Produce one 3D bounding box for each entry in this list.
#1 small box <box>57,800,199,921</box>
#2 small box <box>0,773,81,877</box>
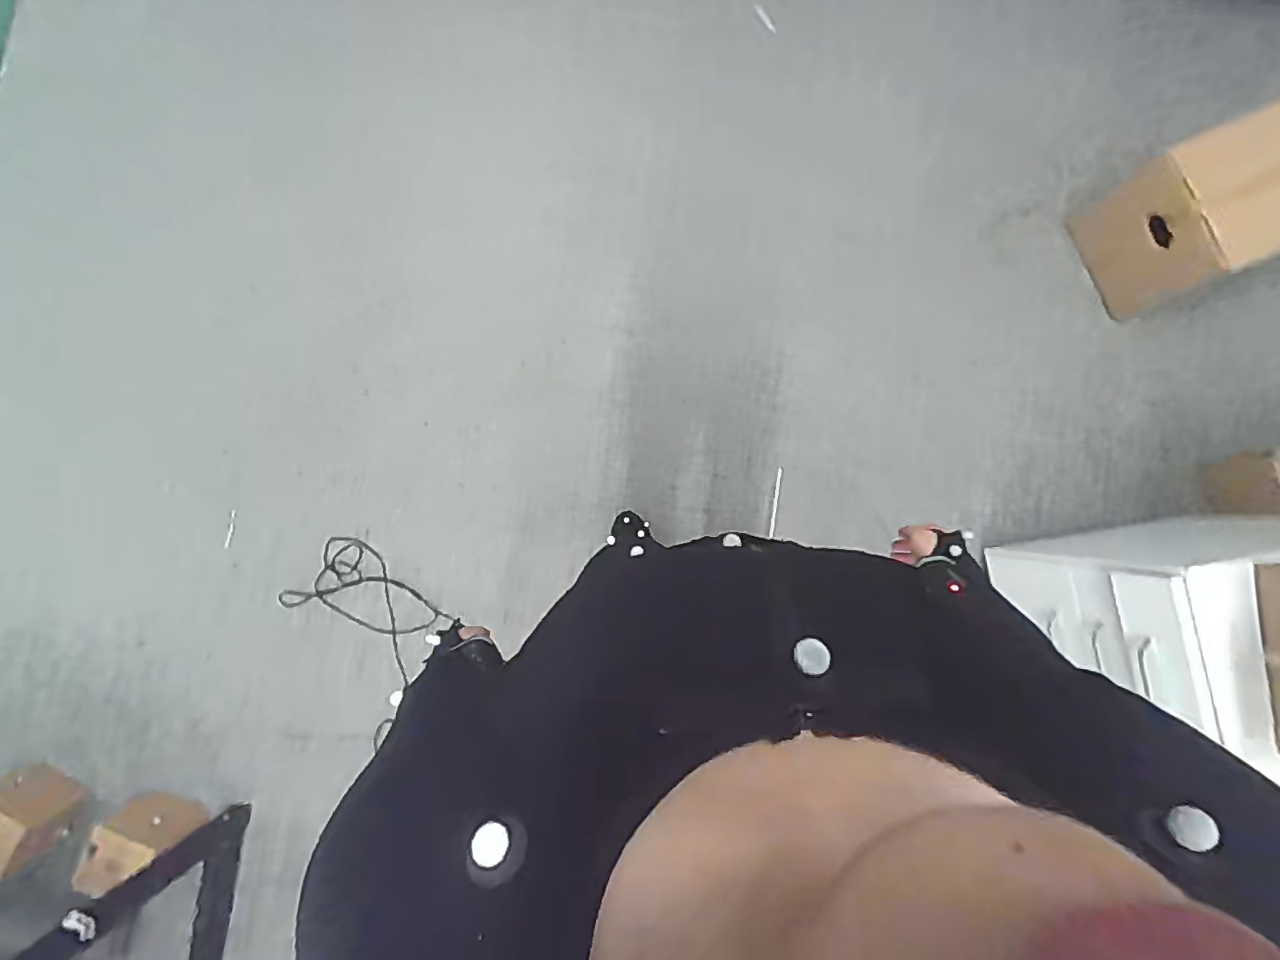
[{"bbox_3d":[-1.296,0.961,1.383,0.179,0.176,0.168,21,86,2],"label":"small box"},{"bbox_3d":[-1.636,0.895,1.396,0.179,0.176,0.168,29,88,2],"label":"small box"}]
